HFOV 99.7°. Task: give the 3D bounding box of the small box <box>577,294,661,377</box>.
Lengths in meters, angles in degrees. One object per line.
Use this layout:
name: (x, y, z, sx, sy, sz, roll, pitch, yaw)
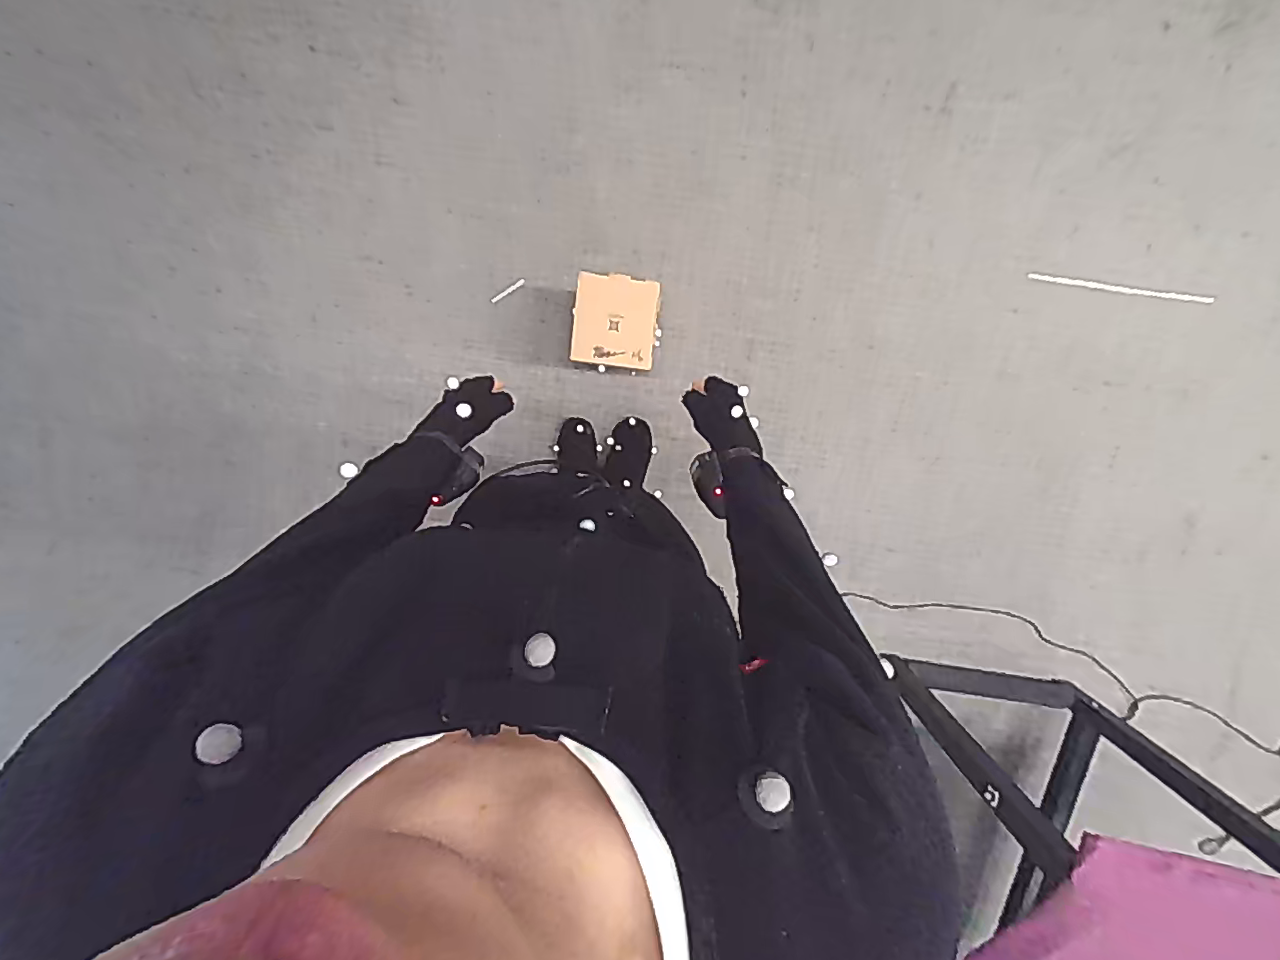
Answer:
small box: (-0.049, -0.346, 1.326, 0.179, 0.176, 0.168, 8, 100, -2)
